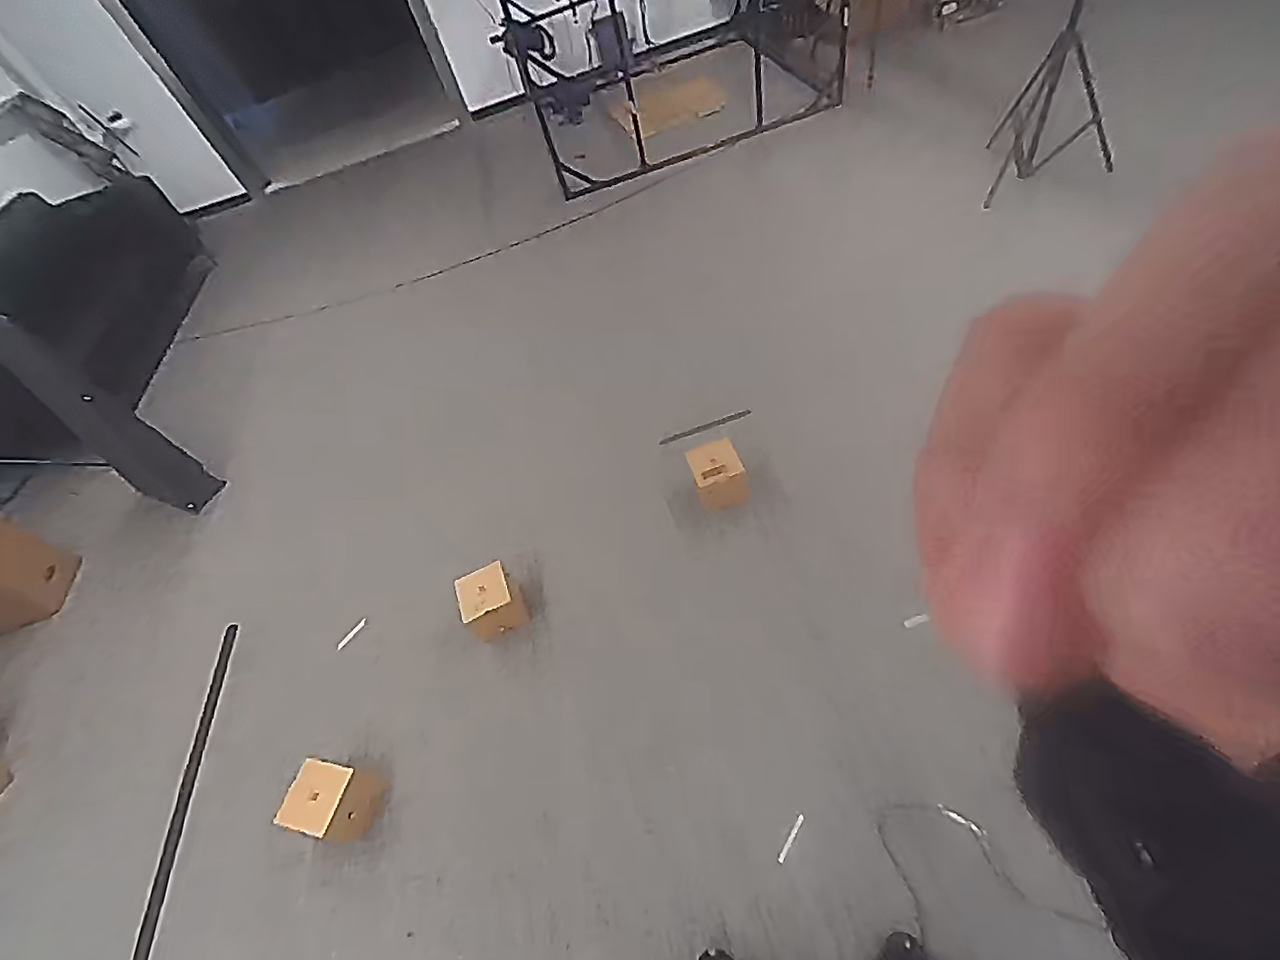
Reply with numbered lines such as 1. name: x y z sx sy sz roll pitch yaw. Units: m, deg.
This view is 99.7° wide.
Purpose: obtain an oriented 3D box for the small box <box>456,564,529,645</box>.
1. small box: -0.495 0.423 1.817 0.168 0.176 0.179 -26 51 -5

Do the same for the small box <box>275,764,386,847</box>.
1. small box: -0.863 0.923 1.528 0.179 0.176 0.168 2 53 18
